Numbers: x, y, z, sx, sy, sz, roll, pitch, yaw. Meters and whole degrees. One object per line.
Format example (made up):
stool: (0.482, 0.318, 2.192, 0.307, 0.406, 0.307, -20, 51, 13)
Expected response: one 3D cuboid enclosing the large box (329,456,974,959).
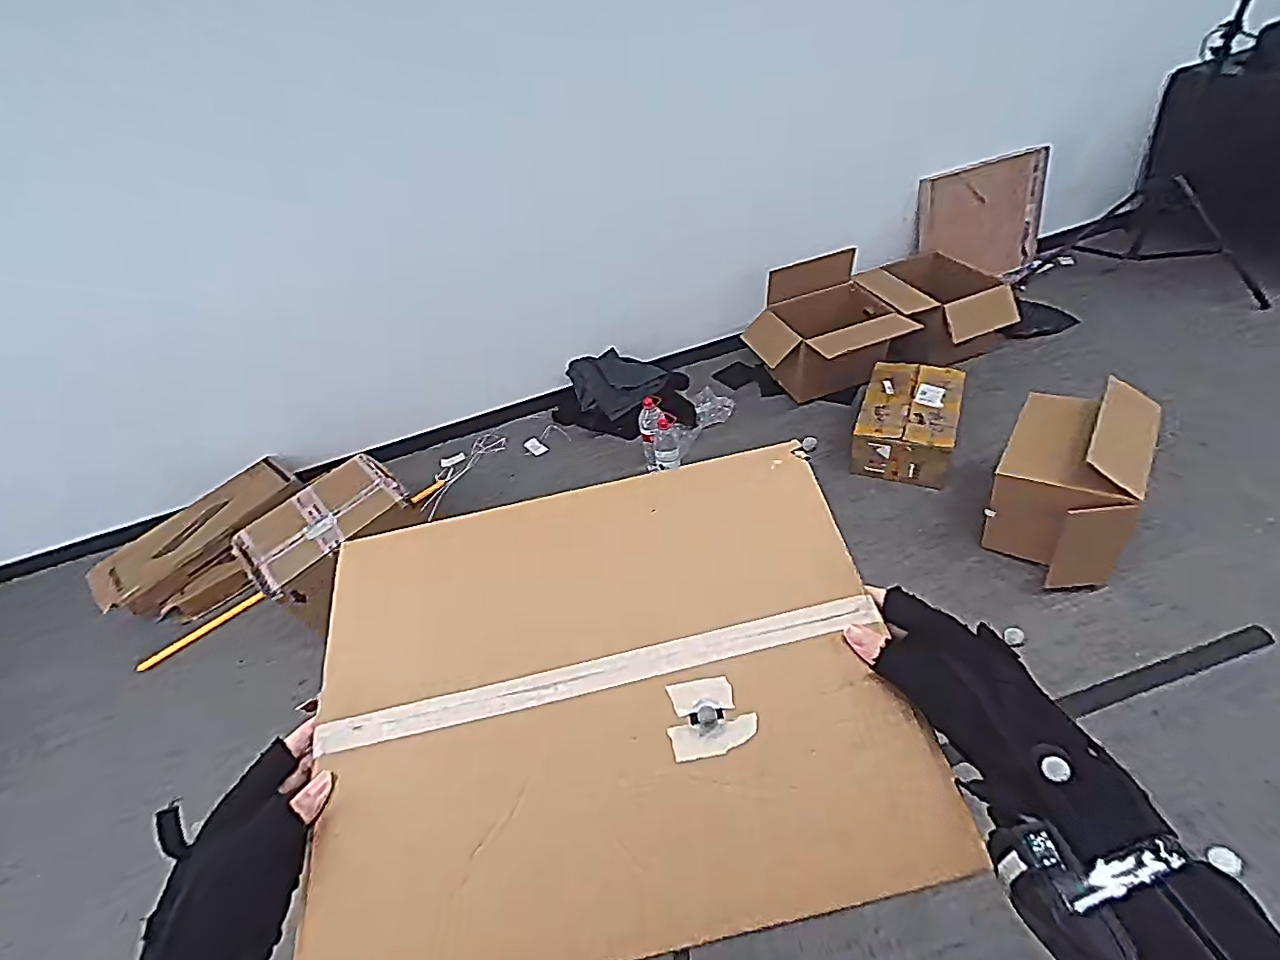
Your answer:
large box: (-0.007, 0.226, 0.522, 0.408, 0.320, 0.320, -13, 58, -2)
